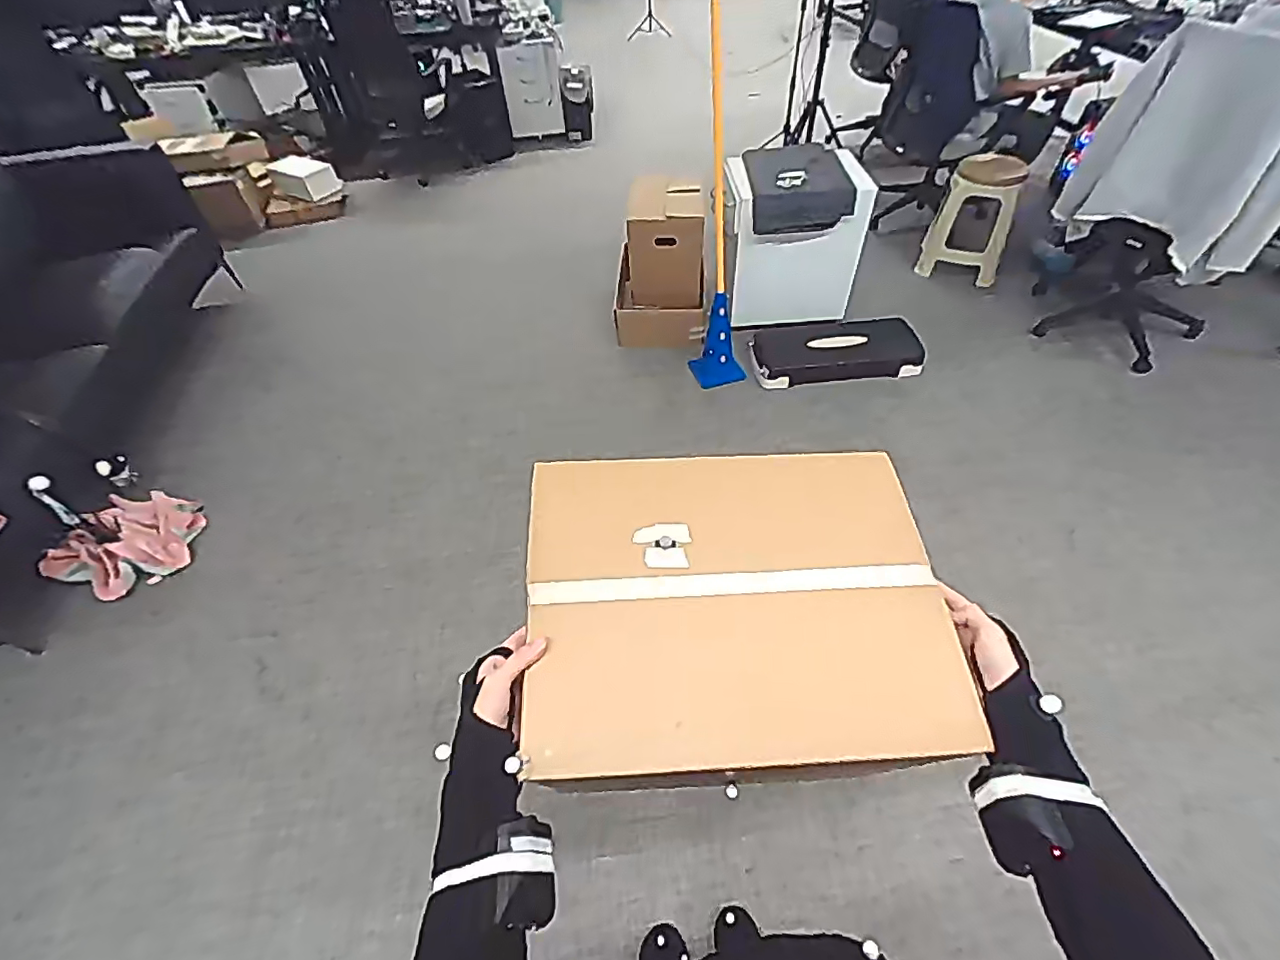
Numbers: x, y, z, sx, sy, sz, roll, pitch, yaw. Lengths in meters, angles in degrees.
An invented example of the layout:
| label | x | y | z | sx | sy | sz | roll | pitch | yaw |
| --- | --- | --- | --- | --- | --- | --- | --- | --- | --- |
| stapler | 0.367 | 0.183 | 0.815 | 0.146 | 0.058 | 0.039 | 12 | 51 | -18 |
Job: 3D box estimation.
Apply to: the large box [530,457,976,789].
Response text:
| label | x | y | z | sx | sy | sz | roll | pitch | yaw |
| --- | --- | --- | --- | --- | --- | --- | --- | --- | --- |
| large box | 0.094 | 0.192 | 0.673 | 0.408 | 0.320 | 0.320 | -3 | 57 | -2 |
